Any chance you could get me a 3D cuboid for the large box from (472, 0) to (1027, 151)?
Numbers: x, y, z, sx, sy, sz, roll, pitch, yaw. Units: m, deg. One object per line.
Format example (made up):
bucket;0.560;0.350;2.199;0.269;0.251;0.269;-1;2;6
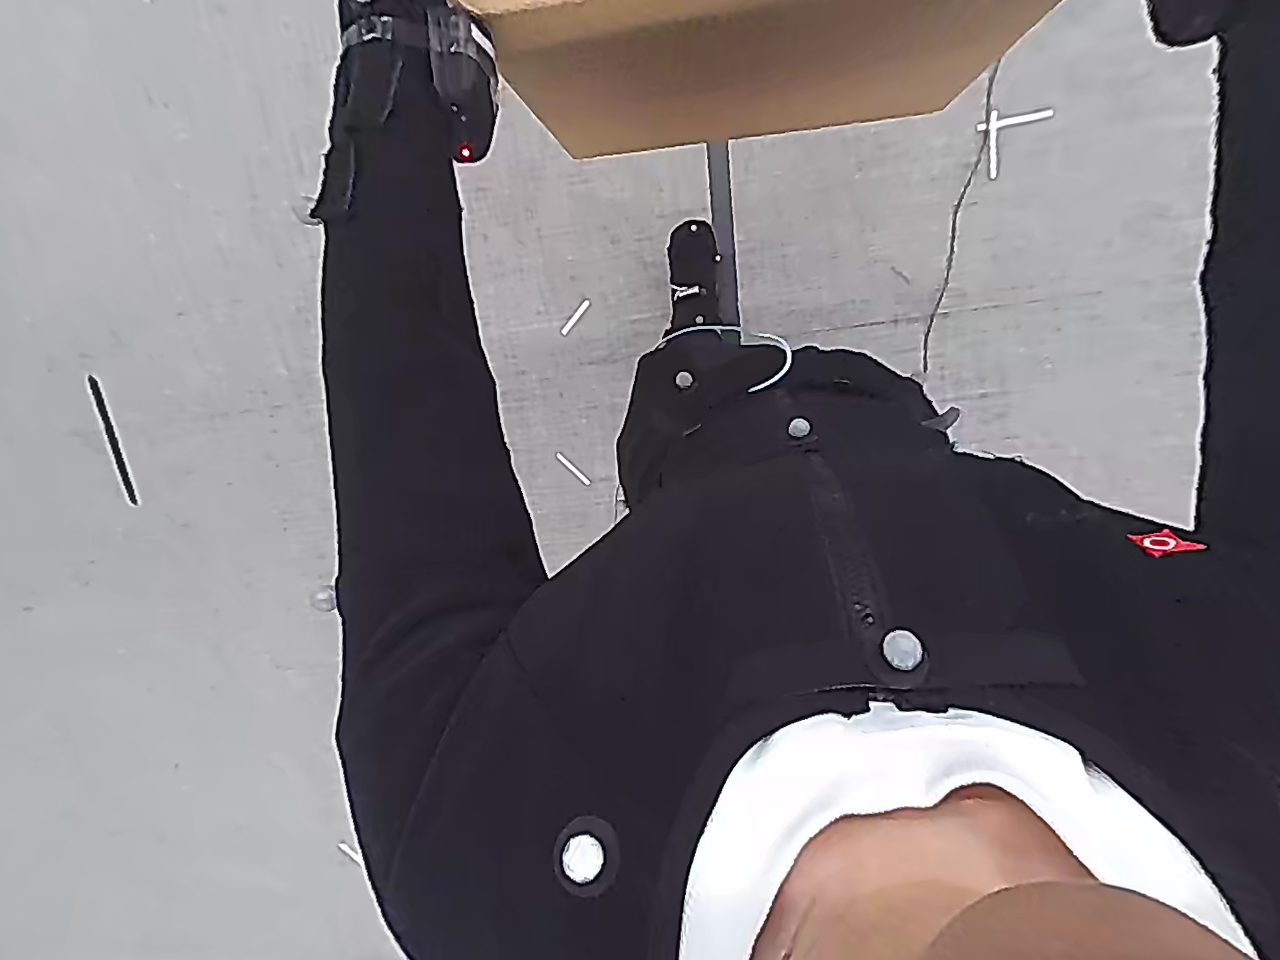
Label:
large box;0.087;-0.497;0.419;0.408;0.320;0.320;-3;106;8
